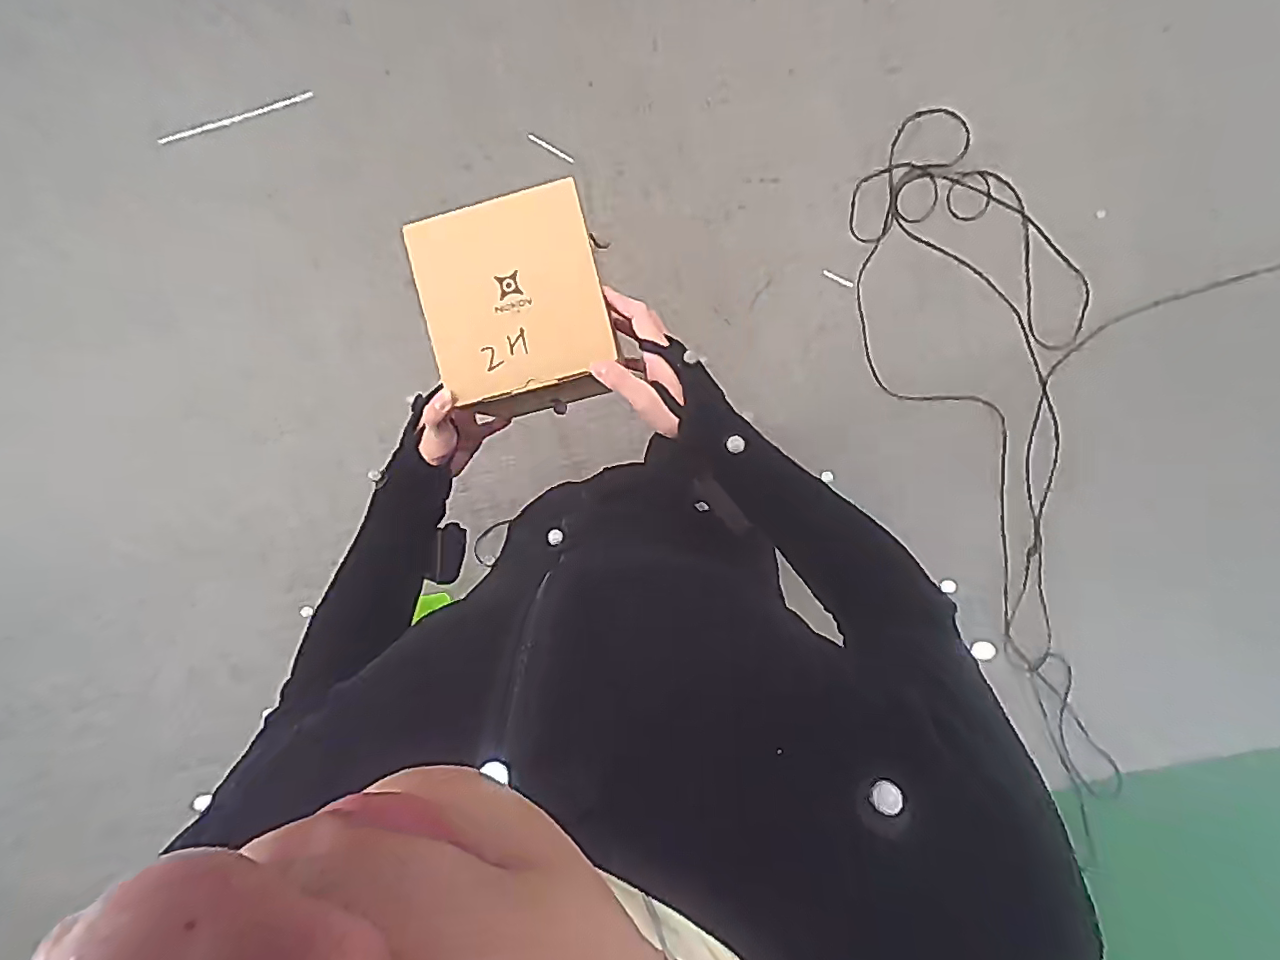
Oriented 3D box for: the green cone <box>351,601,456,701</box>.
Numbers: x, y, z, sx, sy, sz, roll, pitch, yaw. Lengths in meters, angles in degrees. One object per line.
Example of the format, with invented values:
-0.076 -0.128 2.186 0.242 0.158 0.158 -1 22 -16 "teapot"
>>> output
-0.674 0.498 1.471 0.202 0.368 0.200 -12 96 2 "green cone"
